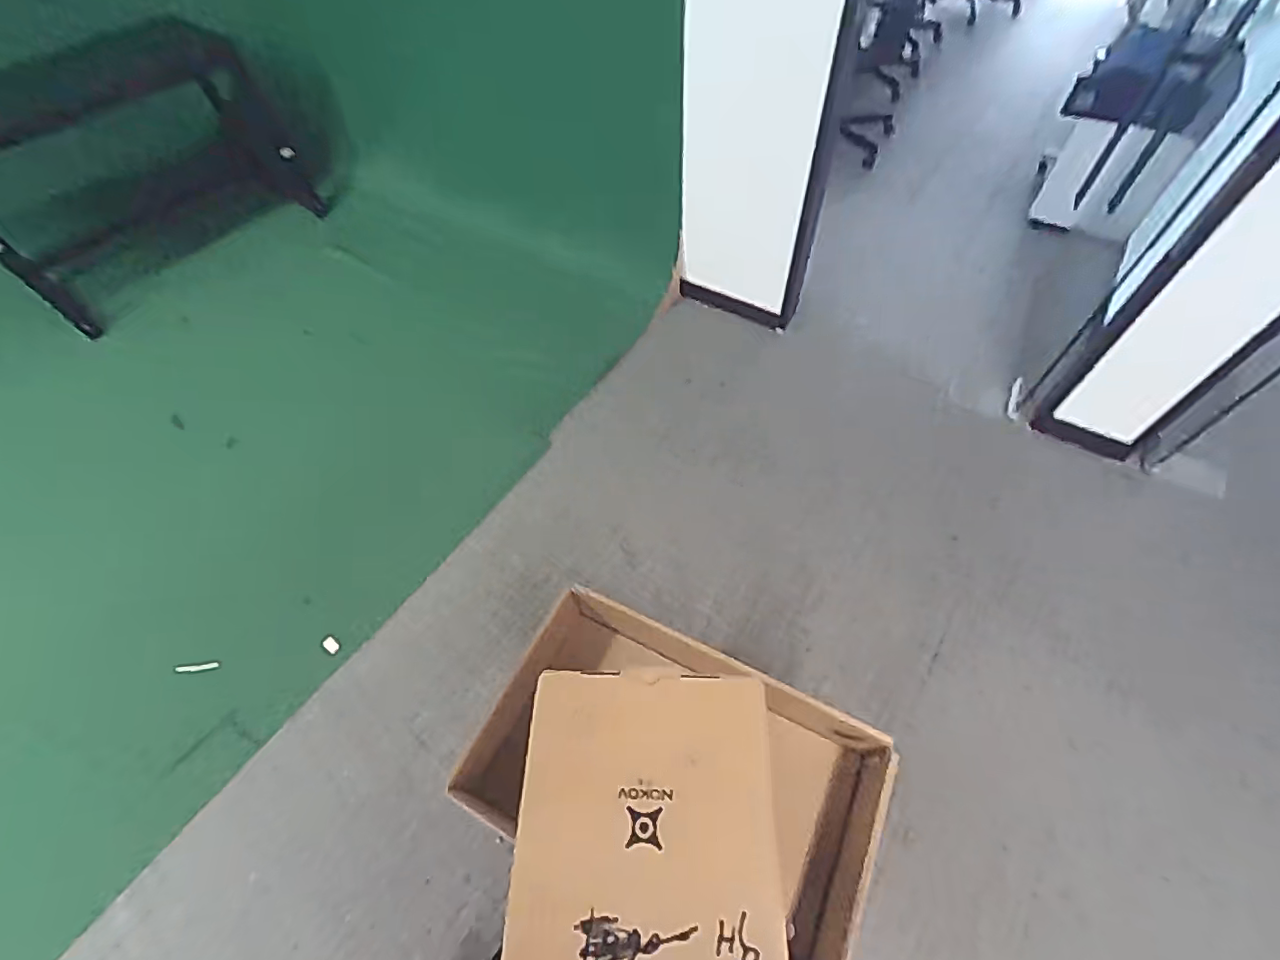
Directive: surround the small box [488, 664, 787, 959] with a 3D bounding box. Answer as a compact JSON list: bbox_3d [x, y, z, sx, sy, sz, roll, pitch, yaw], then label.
[{"bbox_3d":[0.004,0.250,0.400,0.168,0.176,0.179,0,55,4],"label":"small box"}]
